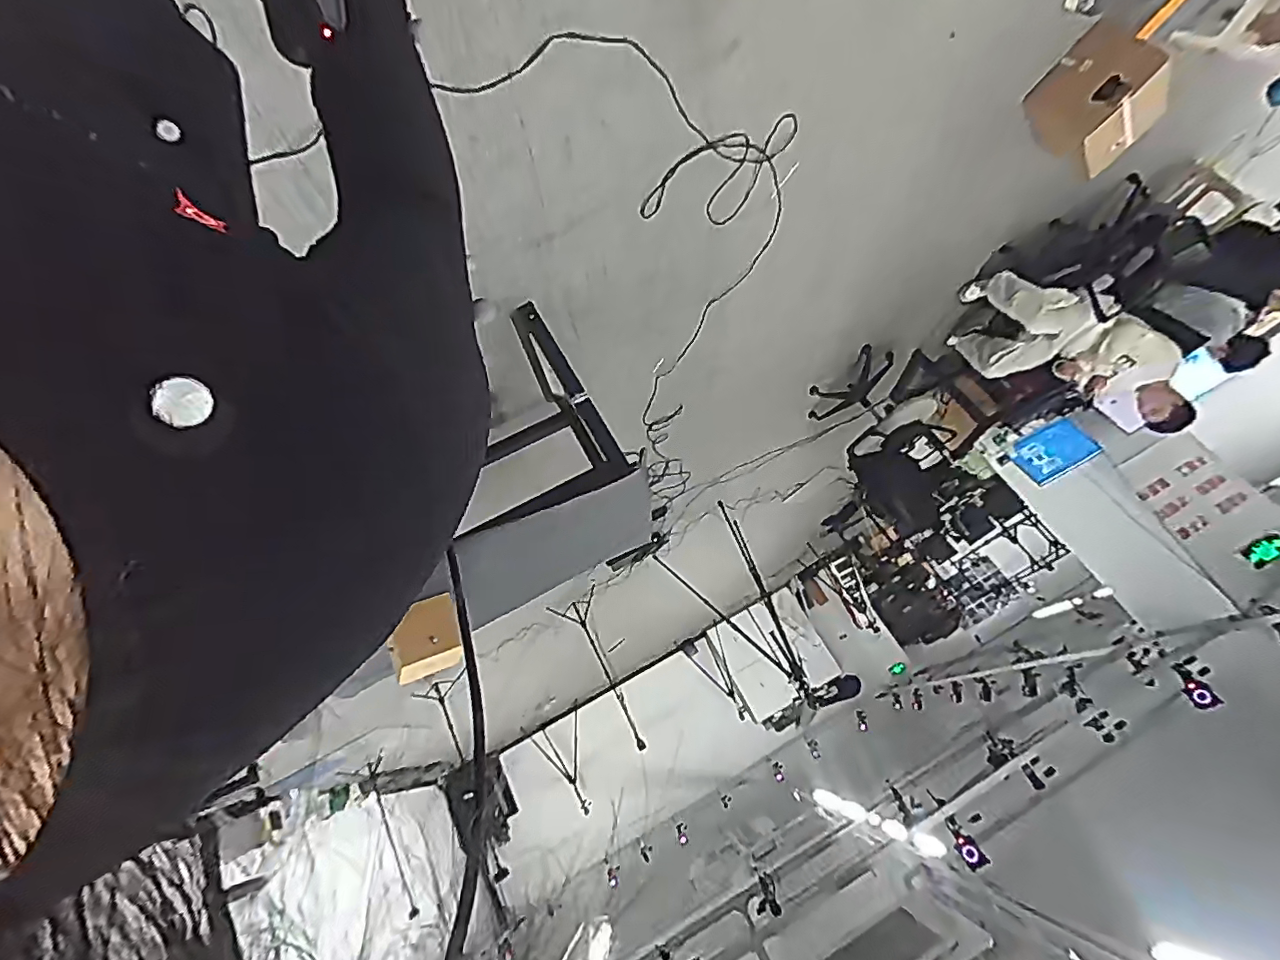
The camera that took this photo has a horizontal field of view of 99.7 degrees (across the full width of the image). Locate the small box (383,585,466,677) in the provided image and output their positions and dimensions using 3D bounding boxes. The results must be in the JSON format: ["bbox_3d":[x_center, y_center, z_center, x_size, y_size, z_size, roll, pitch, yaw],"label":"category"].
[{"bbox_3d":[-0.622,0.428,1.547,0.179,0.176,0.168,-15,153,-35],"label":"small box"}]
